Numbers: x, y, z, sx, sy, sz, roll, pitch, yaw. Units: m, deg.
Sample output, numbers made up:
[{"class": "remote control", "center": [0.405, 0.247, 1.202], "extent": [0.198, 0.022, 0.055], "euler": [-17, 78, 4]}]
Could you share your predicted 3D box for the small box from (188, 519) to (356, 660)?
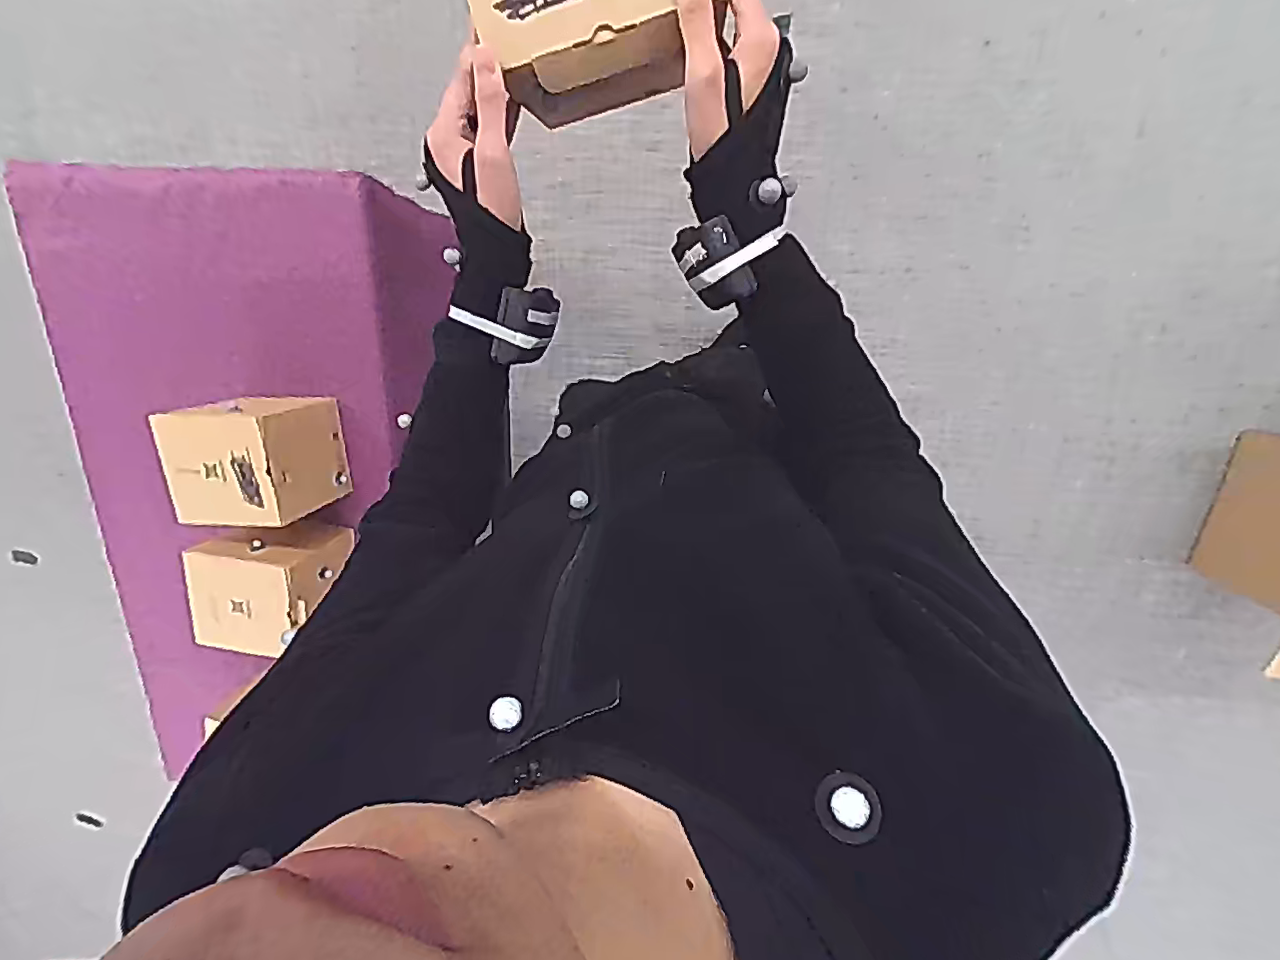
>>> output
[{"class": "small box", "center": [-0.608, 0.177, 0.922], "extent": [0.179, 0.176, 0.168], "euler": [8, 107, 5]}]
